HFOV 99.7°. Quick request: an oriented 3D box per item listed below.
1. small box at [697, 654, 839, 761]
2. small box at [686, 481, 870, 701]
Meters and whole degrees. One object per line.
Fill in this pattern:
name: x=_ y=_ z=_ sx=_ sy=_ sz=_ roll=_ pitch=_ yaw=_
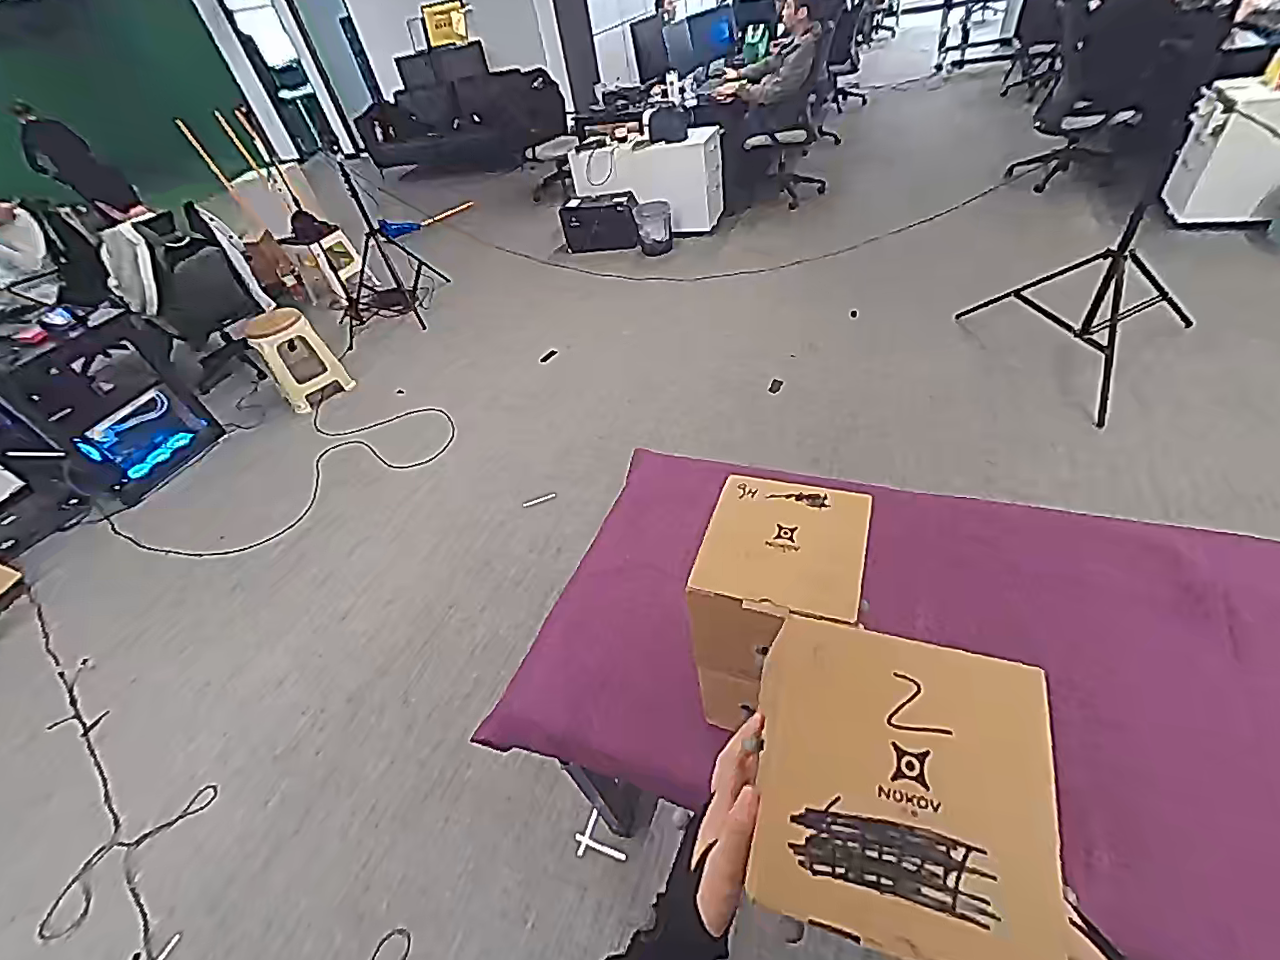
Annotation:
small box: x=0.189 y=0.250 z=0.742 sx=0.168 sy=0.176 sz=0.179 roll=11 pitch=47 yaw=22
small box: x=0.165 y=0.129 z=0.635 sx=0.168 sy=0.176 sz=0.179 roll=10 pitch=47 yaw=21
